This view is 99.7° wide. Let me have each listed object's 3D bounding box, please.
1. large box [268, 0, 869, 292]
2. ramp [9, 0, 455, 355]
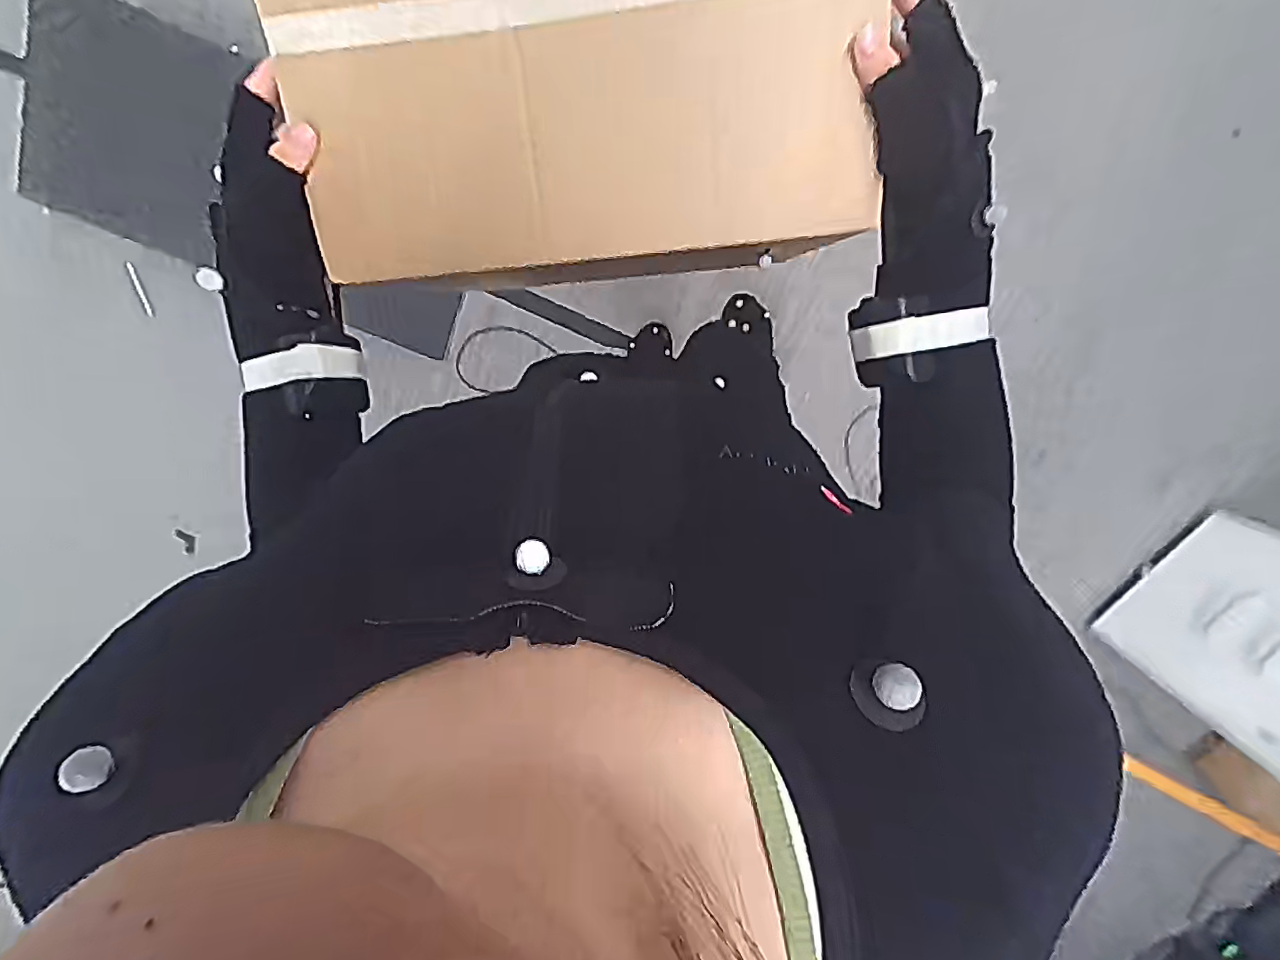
[{"bbox_3d":[-0.043,-0.358,0.500,0.408,0.320,0.320,-5,107,3],"label":"large box"},{"bbox_3d":[-0.916,-0.718,1.294,0.991,0.206,0.509,22,106,-2],"label":"ramp"}]
